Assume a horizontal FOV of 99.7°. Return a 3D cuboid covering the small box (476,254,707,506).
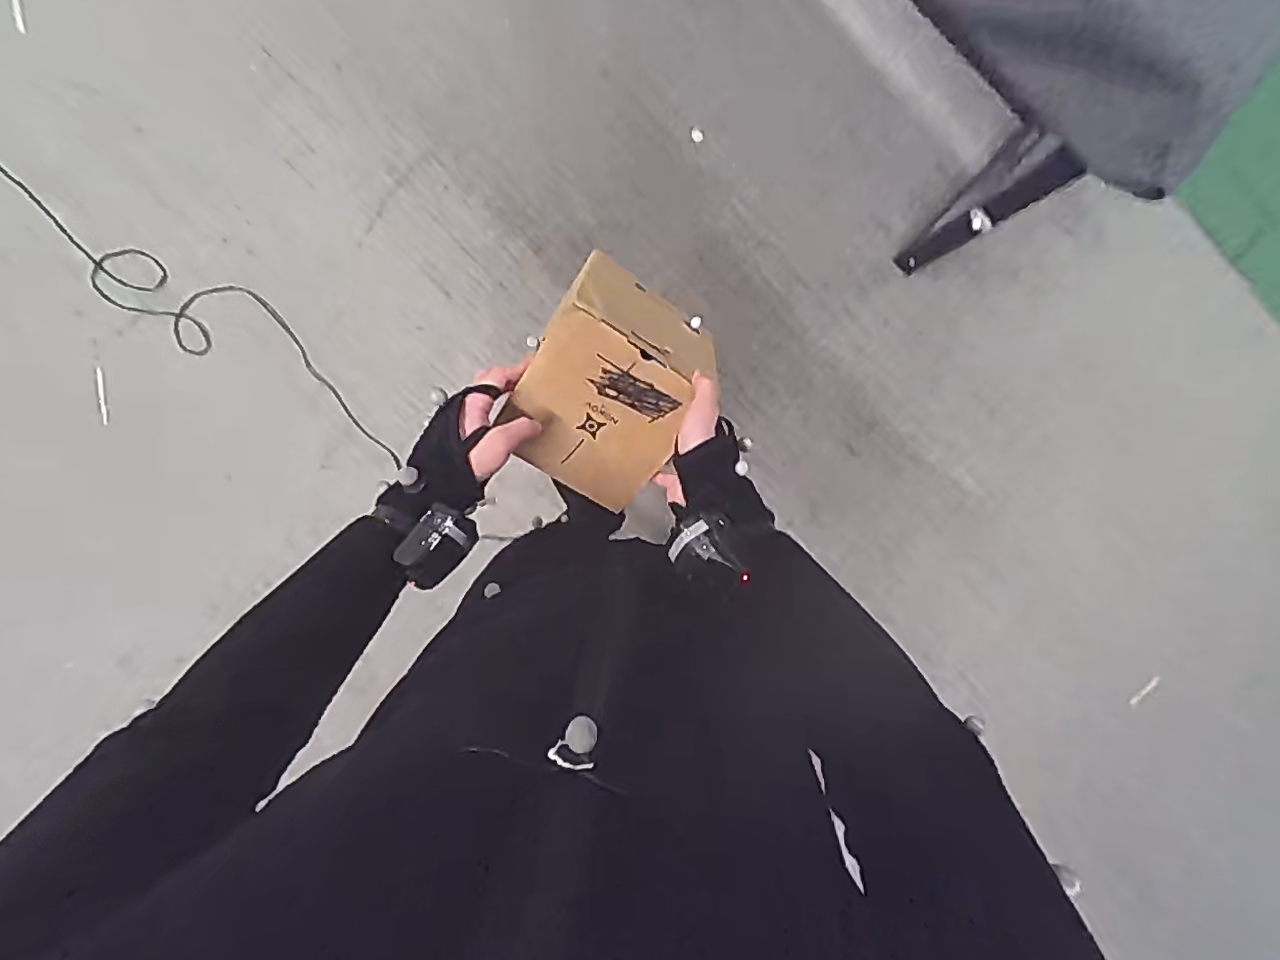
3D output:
[{"bbox_3d":[-0.047,-0.112,0.586,0.168,0.176,0.179,31,123,-17],"label":"small box"}]
